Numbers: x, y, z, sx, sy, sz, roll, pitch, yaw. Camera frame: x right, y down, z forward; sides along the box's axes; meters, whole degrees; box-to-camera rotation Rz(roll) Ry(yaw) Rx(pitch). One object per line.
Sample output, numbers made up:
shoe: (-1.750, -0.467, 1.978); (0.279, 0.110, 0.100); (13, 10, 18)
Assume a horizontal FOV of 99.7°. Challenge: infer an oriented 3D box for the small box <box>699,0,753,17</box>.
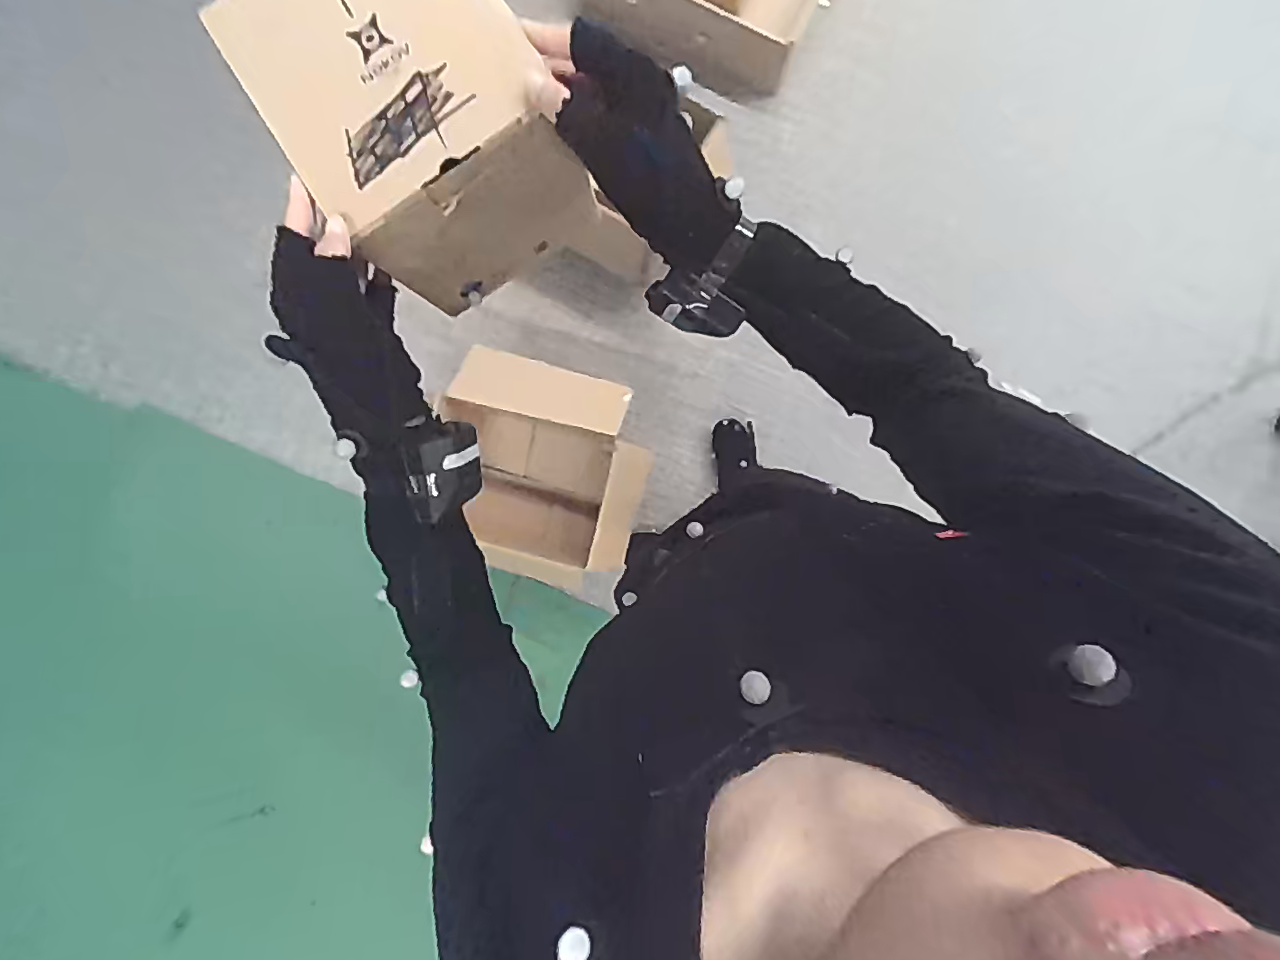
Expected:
small box: (0.231, -1.346, 1.379); (0.179, 0.176, 0.168); (28, 89, 3)
